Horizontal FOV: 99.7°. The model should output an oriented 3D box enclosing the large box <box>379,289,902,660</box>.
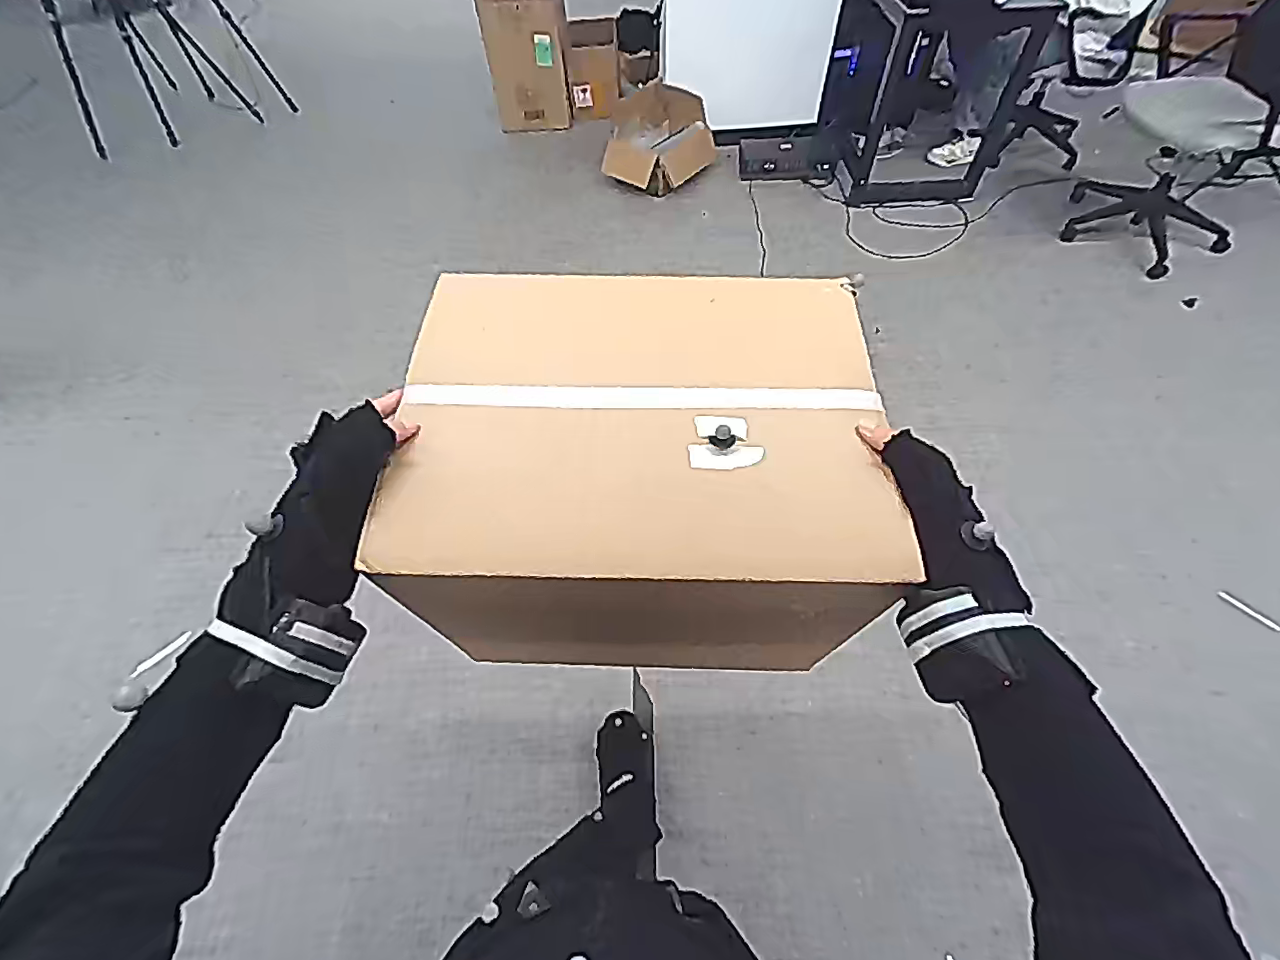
[{"bbox_3d":[0.001,0.011,0.607,0.408,0.320,0.320,1,60,1],"label":"large box"}]
